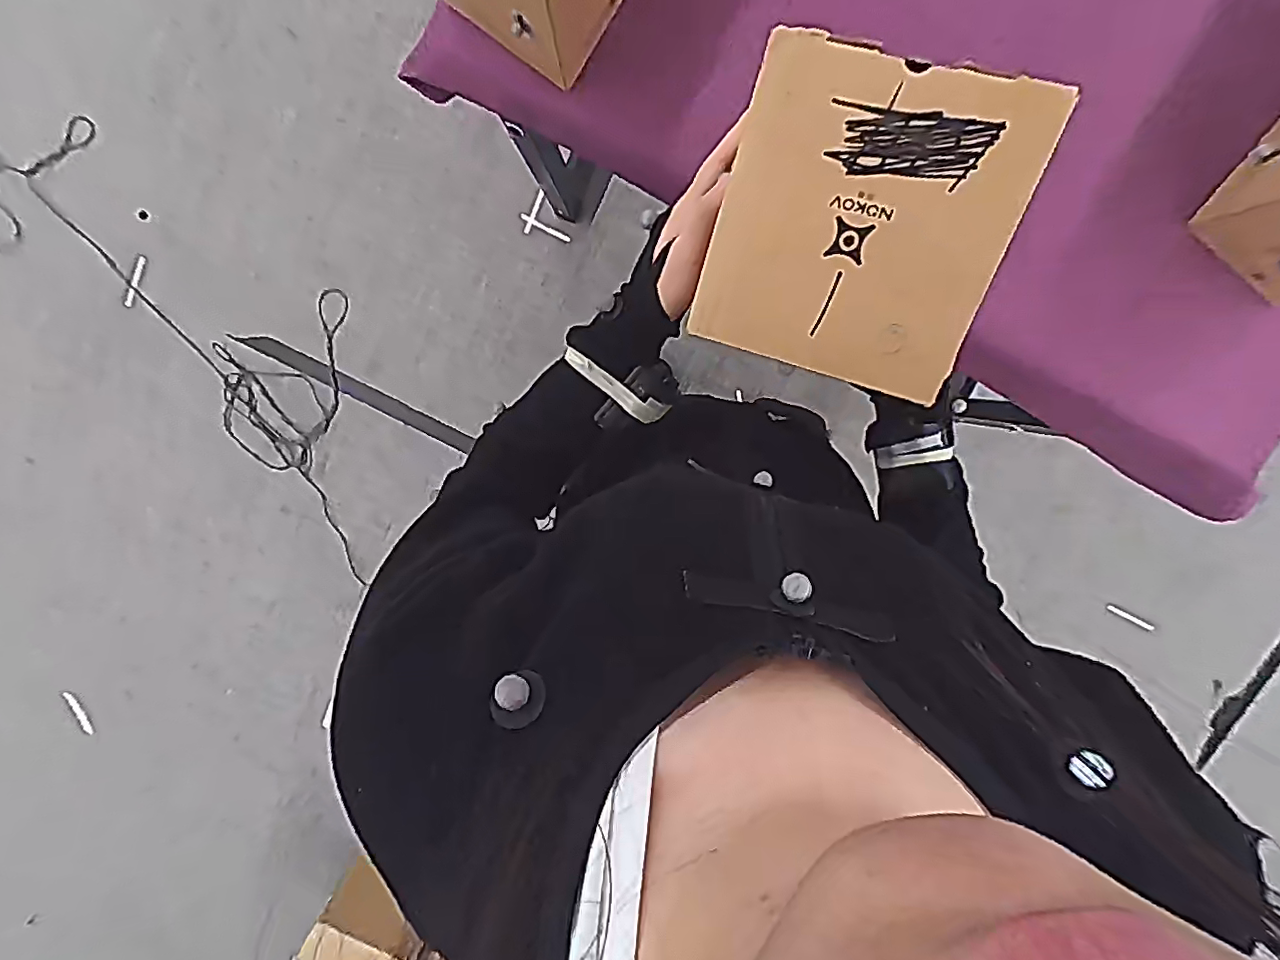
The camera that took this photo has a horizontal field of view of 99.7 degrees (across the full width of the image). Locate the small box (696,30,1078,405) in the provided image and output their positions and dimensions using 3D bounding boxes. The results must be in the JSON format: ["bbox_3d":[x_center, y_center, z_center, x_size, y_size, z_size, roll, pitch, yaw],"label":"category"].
[{"bbox_3d":[0.153,-0.174,0.398,0.168,0.176,0.179,19,111,9],"label":"small box"}]
